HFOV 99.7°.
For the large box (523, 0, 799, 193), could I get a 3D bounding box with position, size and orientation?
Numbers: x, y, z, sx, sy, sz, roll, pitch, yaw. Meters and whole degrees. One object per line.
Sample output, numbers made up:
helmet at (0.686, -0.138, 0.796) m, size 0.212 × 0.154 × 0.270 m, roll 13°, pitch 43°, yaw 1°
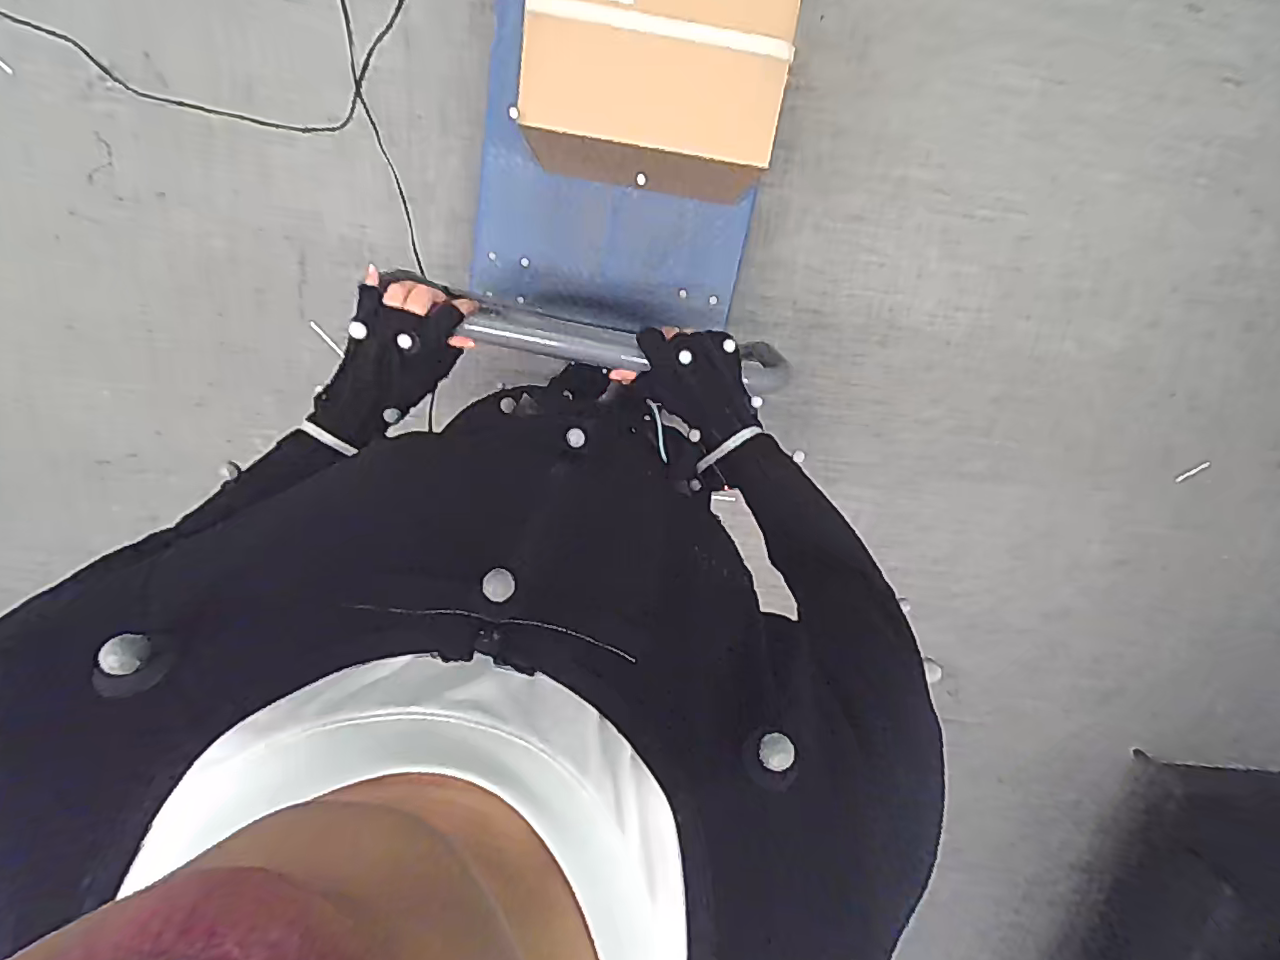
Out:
large box at (0.032, -0.728, 0.952) m, size 0.408 × 0.320 × 0.320 m, roll 8°, pitch 106°, yaw -4°
